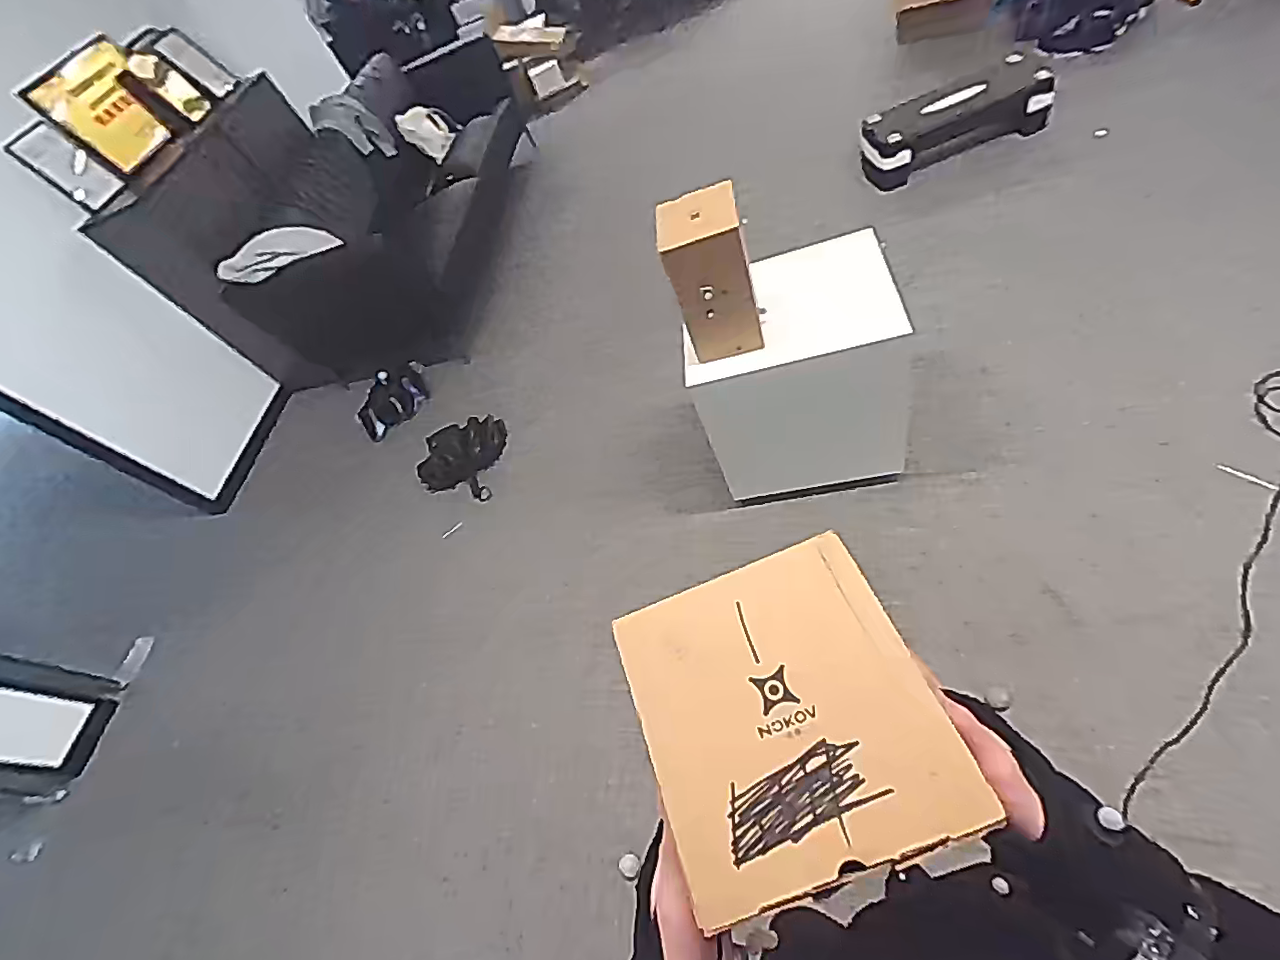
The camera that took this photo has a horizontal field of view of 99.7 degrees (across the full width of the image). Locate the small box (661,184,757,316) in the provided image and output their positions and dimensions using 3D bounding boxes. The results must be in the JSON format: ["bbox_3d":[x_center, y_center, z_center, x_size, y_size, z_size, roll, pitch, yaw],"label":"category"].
[{"bbox_3d":[0.149,-0.489,1.165,0.168,0.176,0.179,-13,54,17],"label":"small box"}]

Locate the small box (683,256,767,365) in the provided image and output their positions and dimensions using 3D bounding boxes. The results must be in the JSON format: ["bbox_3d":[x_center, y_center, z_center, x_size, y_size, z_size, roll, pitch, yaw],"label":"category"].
[{"bbox_3d":[0.204,-0.407,1.295,0.168,0.176,0.179,-11,53,17],"label":"small box"}]
